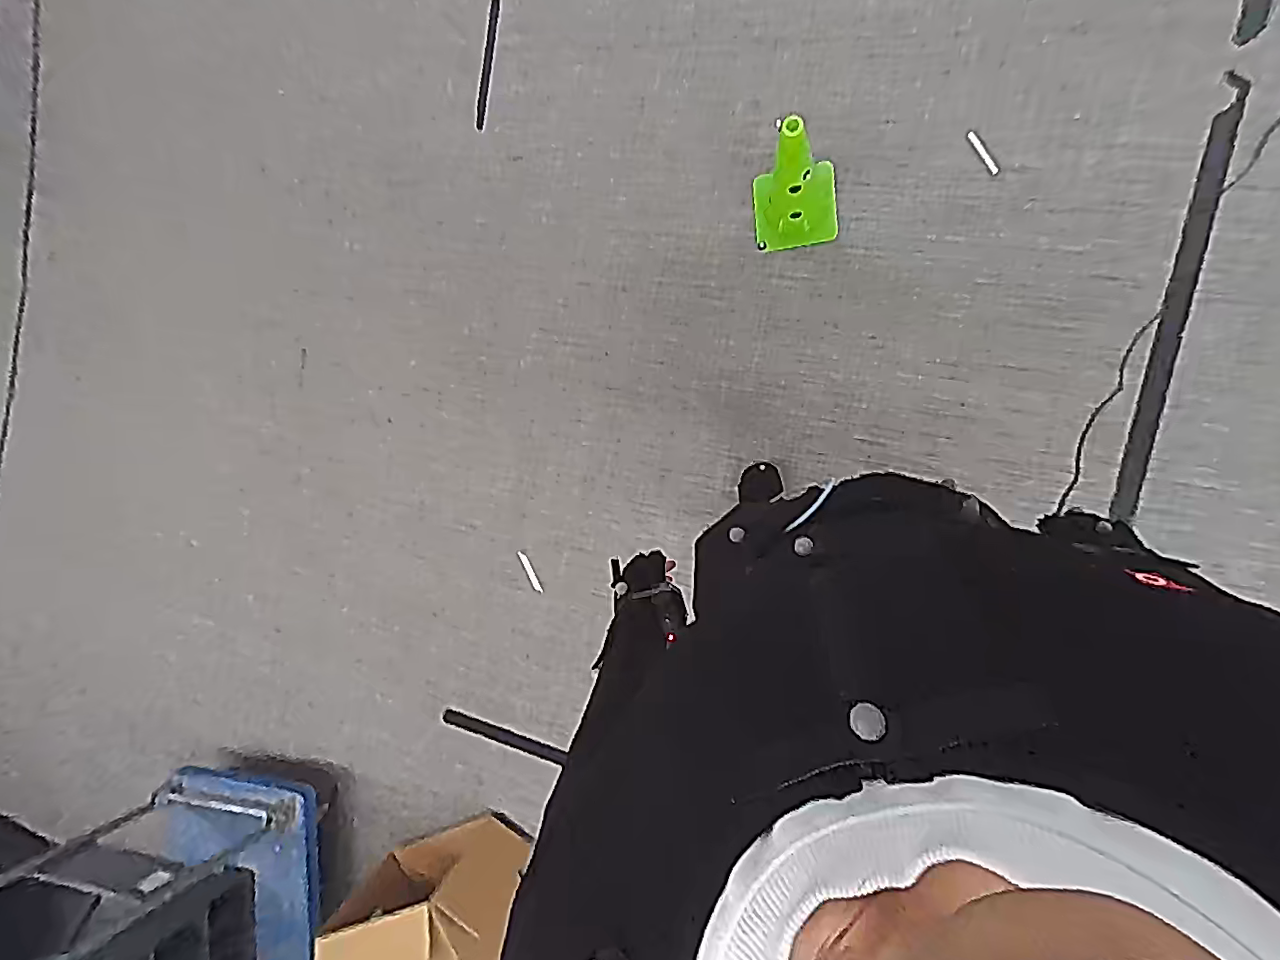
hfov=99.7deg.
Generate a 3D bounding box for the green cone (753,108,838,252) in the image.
[{"bbox_3d":[0.349,-0.696,1.218,0.200,0.368,0.202,-5,88,16],"label":"green cone"}]
